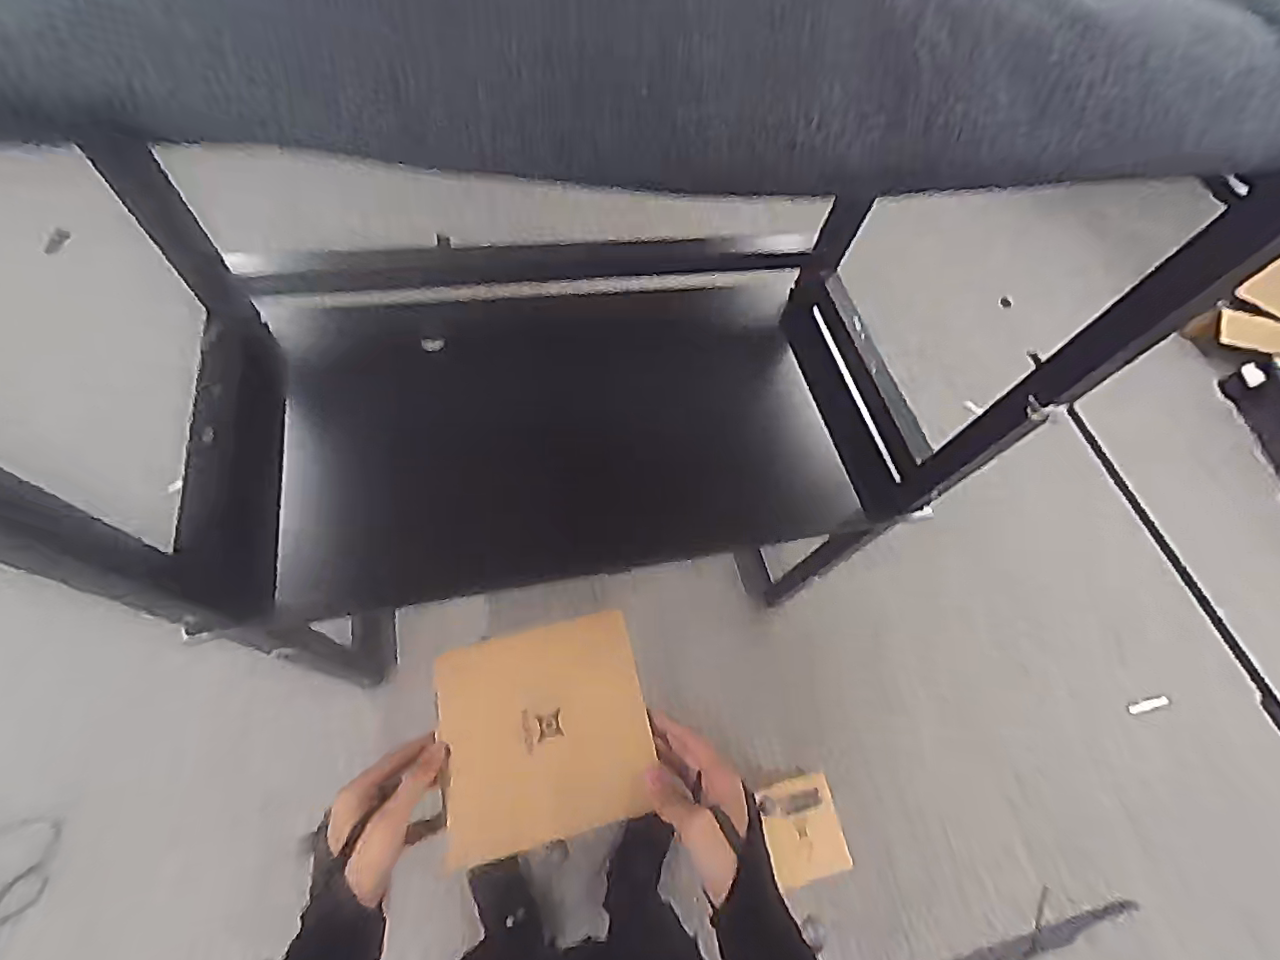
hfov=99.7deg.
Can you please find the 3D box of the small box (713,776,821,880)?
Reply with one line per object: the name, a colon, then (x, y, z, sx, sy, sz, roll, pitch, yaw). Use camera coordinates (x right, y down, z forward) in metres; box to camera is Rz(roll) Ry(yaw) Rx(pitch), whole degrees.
small box: (0.294, 0.820, 1.292, 0.179, 0.176, 0.168, -10, 64, -12)
